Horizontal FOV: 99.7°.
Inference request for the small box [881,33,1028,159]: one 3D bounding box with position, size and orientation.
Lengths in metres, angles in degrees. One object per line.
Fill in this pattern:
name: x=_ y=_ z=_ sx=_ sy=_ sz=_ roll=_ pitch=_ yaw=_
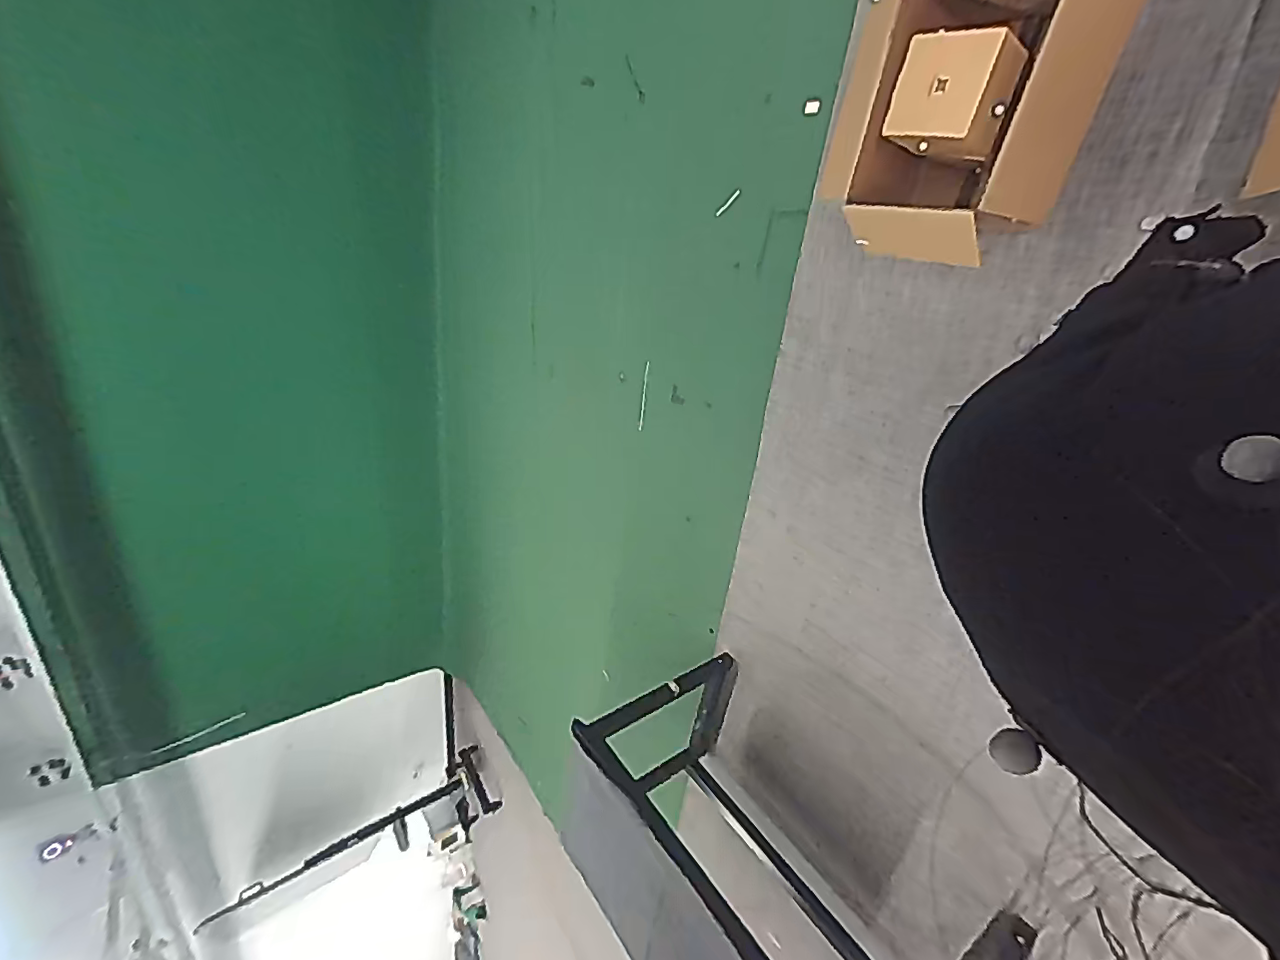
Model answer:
small box: x=0.623 y=-0.750 z=1.070 sx=0.179 sy=0.176 sz=0.168 roll=35 pitch=124 yaw=41
